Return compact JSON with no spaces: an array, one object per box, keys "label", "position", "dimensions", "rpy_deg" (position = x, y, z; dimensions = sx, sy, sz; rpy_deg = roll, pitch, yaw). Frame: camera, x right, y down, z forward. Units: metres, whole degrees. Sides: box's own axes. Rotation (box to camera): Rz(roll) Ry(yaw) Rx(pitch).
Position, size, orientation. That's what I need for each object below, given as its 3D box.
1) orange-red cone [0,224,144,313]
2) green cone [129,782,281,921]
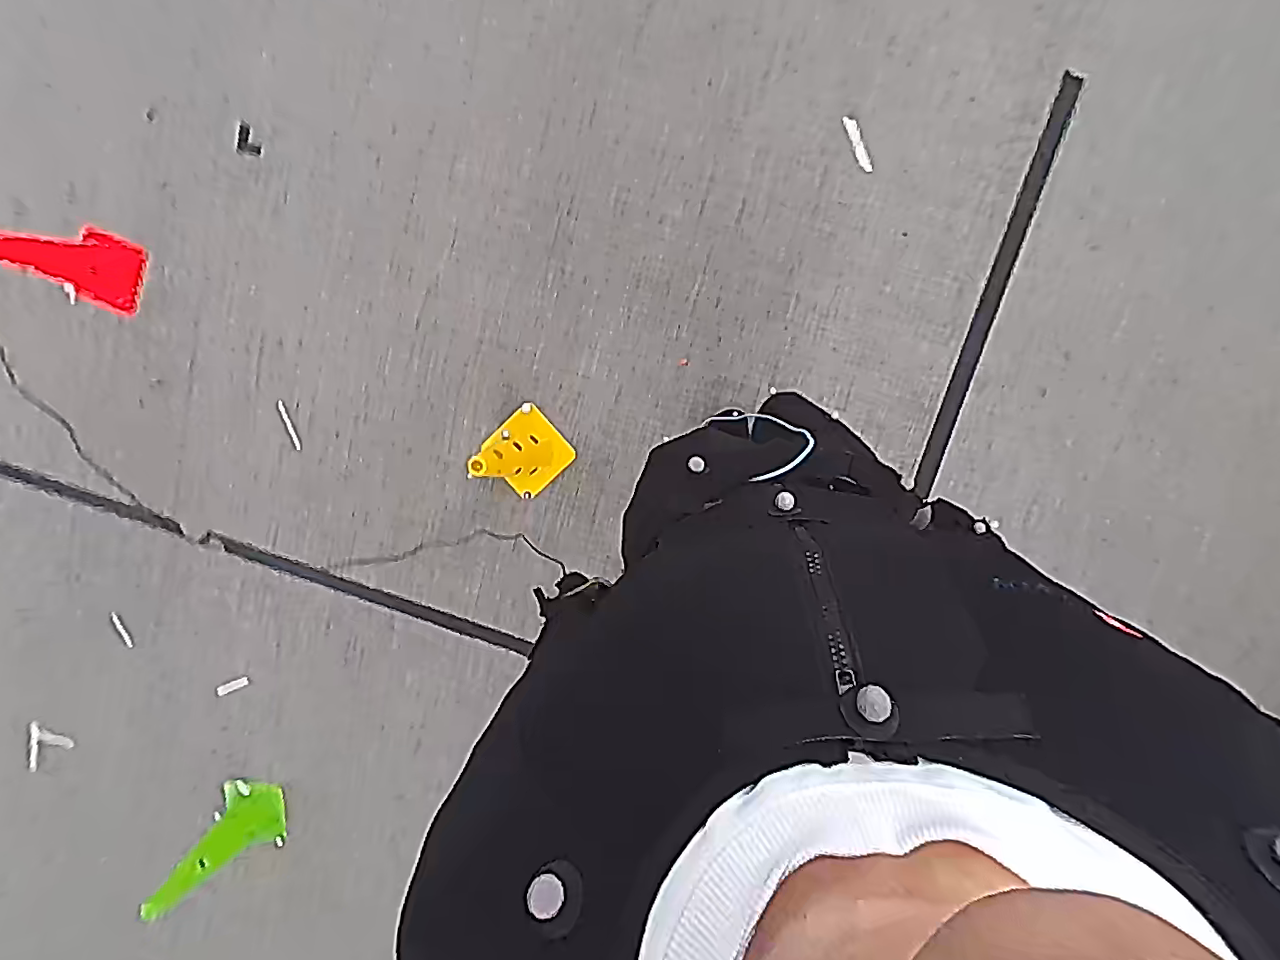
[{"label":"orange-red cone","position":[-1.515,-0.568,1.352],"dimensions":[0.199,0.360,0.198],"rpy_deg":[24,100,1]},{"label":"green cone","position":[-1.268,1.089,1.563],"dimensions":[0.202,0.368,0.200],"rpy_deg":[2,98,7]}]
